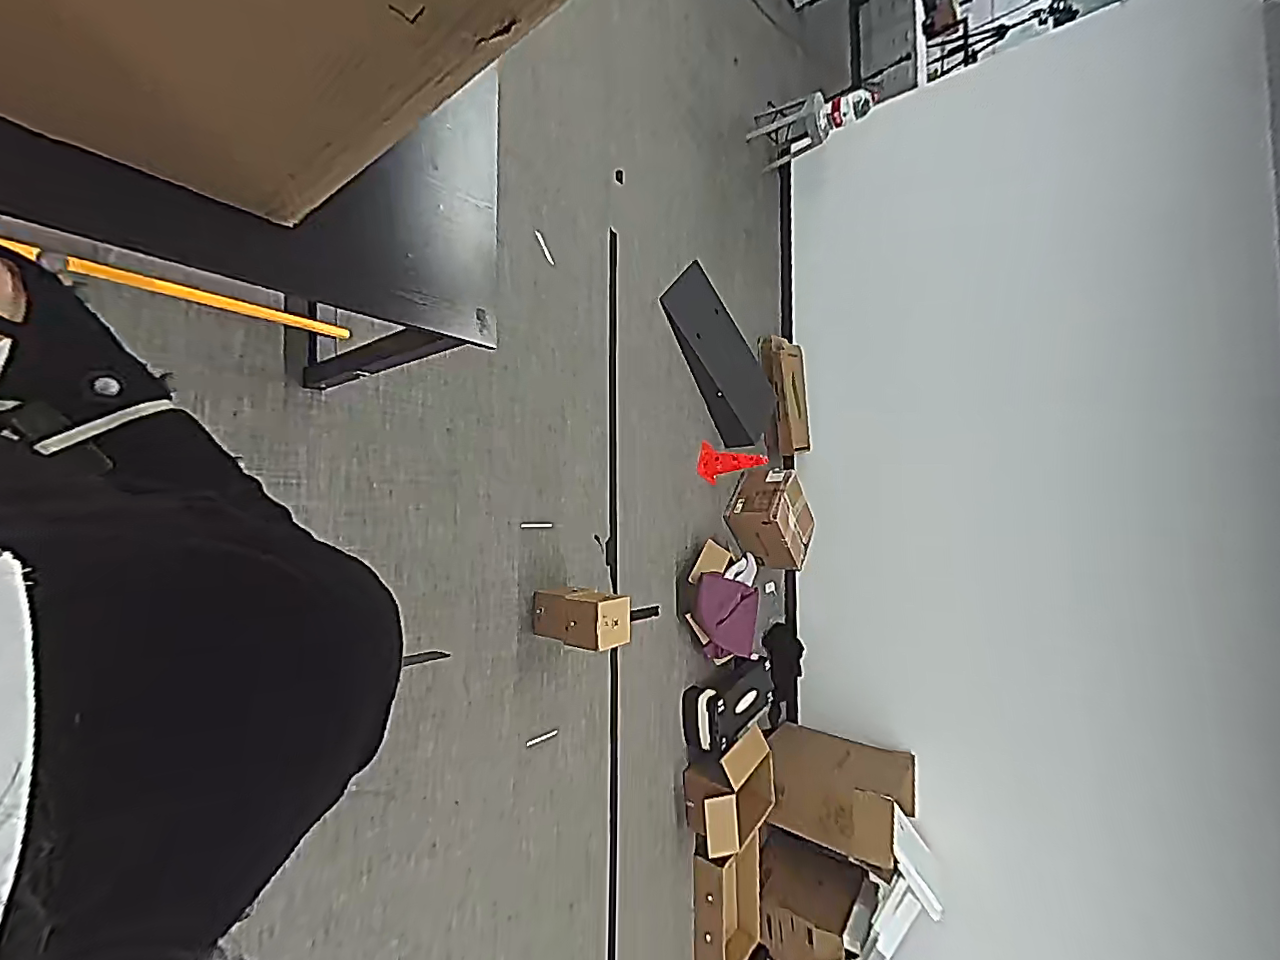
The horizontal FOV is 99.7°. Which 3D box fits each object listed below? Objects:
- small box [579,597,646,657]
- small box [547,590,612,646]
[{"bbox_3d":[-0.096,0.512,1.907,0.179,0.176,0.168,3,85,-53],"label":"small box"},{"bbox_3d":[-0.223,0.508,2.013,0.179,0.176,0.168,2,86,-52],"label":"small box"}]
